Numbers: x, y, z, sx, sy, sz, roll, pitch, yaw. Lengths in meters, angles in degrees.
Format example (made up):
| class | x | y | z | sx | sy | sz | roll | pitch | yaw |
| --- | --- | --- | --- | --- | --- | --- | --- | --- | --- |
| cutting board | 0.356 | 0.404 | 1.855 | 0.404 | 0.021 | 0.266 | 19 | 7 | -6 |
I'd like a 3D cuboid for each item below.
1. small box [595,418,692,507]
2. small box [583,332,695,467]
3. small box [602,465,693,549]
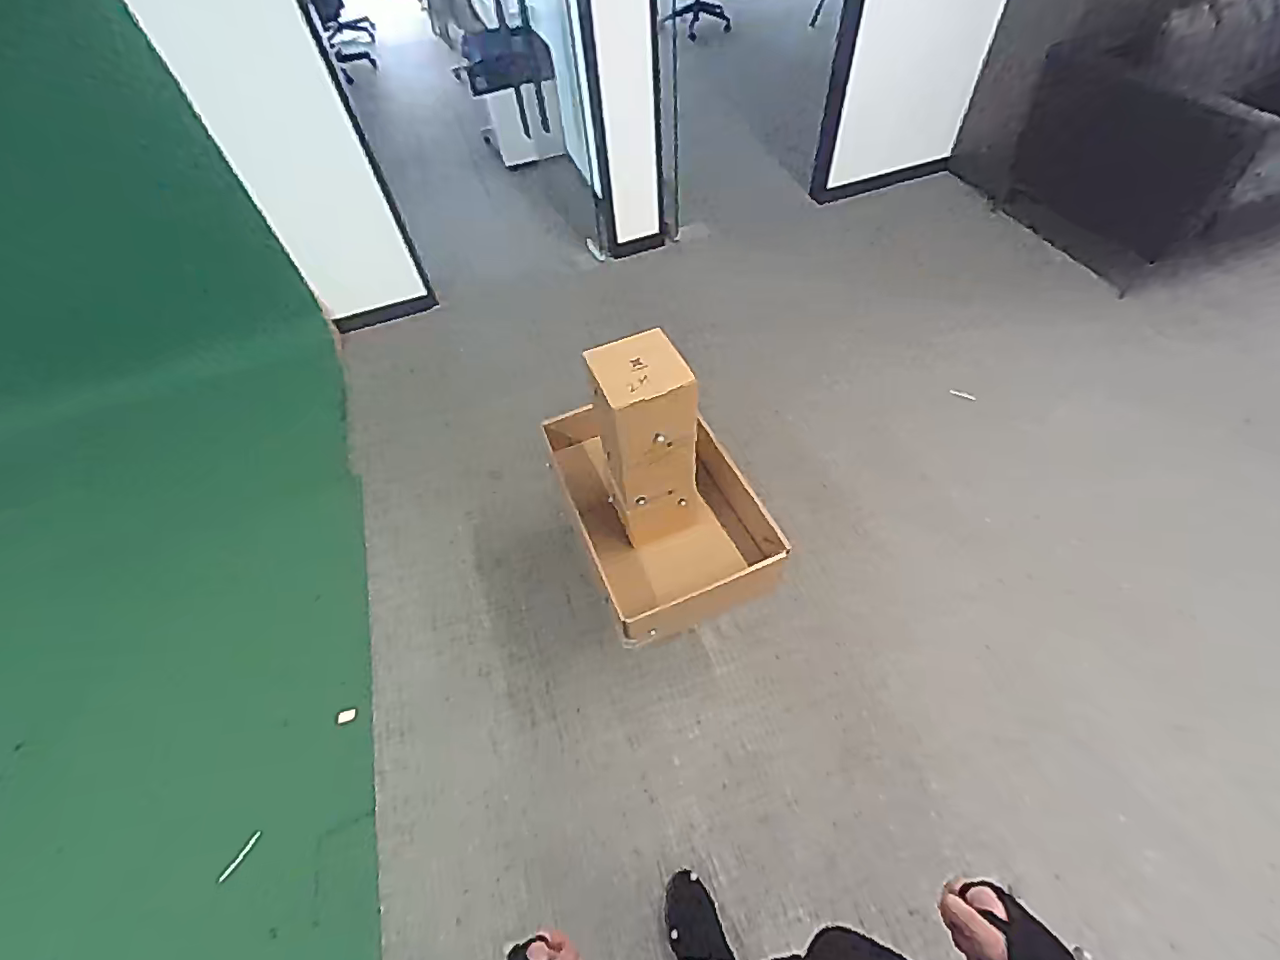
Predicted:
| class | x | y | z | sx | sy | sz | roll | pitch | yaw |
| --- | --- | --- | --- | --- | --- | --- | --- | --- | --- |
| small box | 0.011 | -0.060 | 1.202 | 0.168 | 0.176 | 0.179 | -18 | 53 | -9 |
| small box | -0.001 | -0.158 | 1.069 | 0.168 | 0.176 | 0.179 | -20 | 54 | -10 |
| small box | 0.022 | 0.044 | 1.328 | 0.179 | 0.176 | 0.168 | -20 | 53 | -11 |
